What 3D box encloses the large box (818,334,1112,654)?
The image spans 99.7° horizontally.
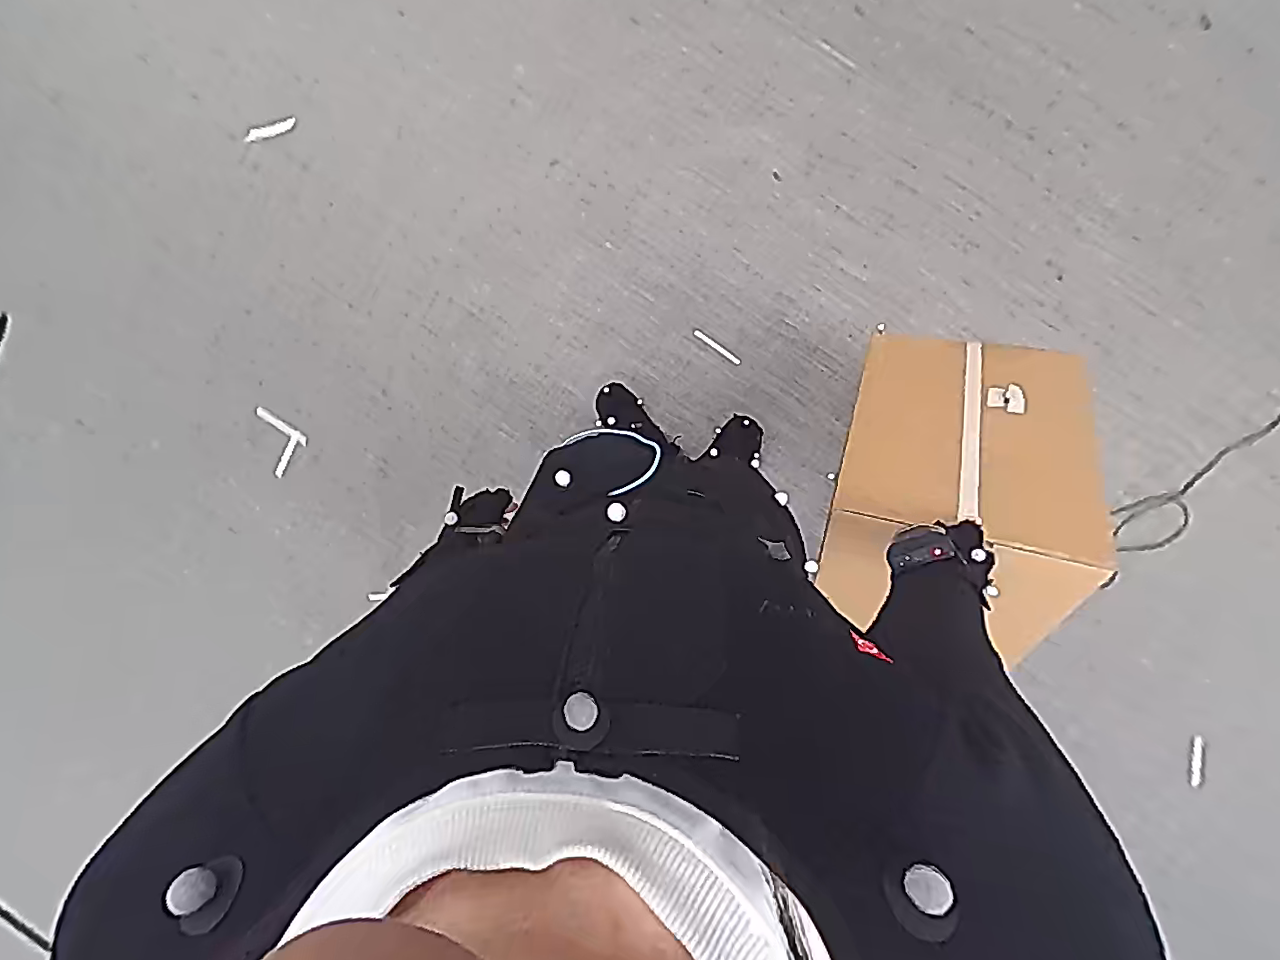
[{"bbox_3d":[0.495,0.012,0.901,0.320,0.408,0.320,12,142,19],"label":"large box"}]
